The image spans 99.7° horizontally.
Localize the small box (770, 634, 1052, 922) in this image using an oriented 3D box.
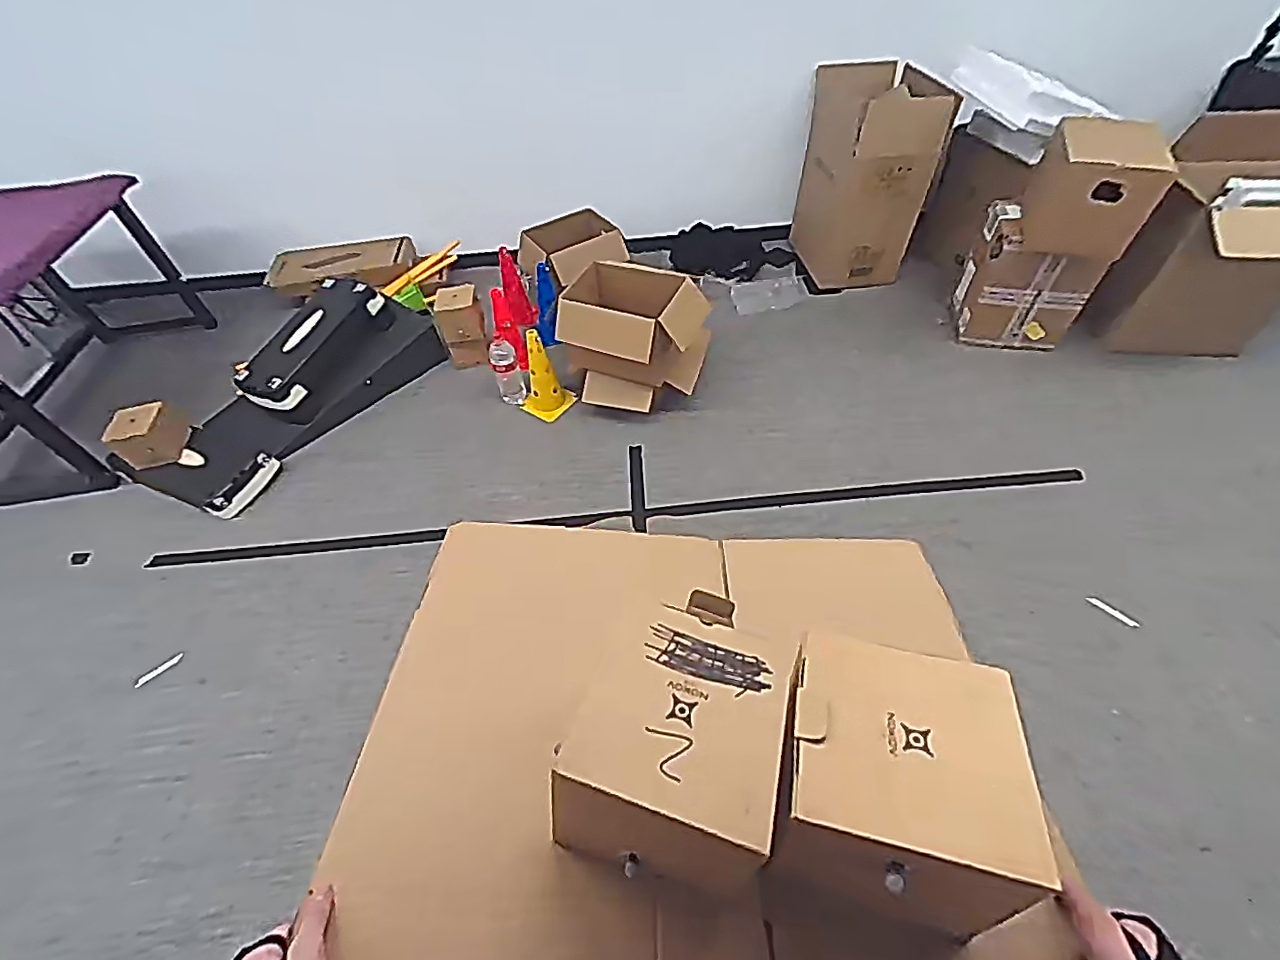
[{"bbox_3d":[0.225,0.273,0.499,0.179,0.176,0.168,8,42,13],"label":"small box"}]
